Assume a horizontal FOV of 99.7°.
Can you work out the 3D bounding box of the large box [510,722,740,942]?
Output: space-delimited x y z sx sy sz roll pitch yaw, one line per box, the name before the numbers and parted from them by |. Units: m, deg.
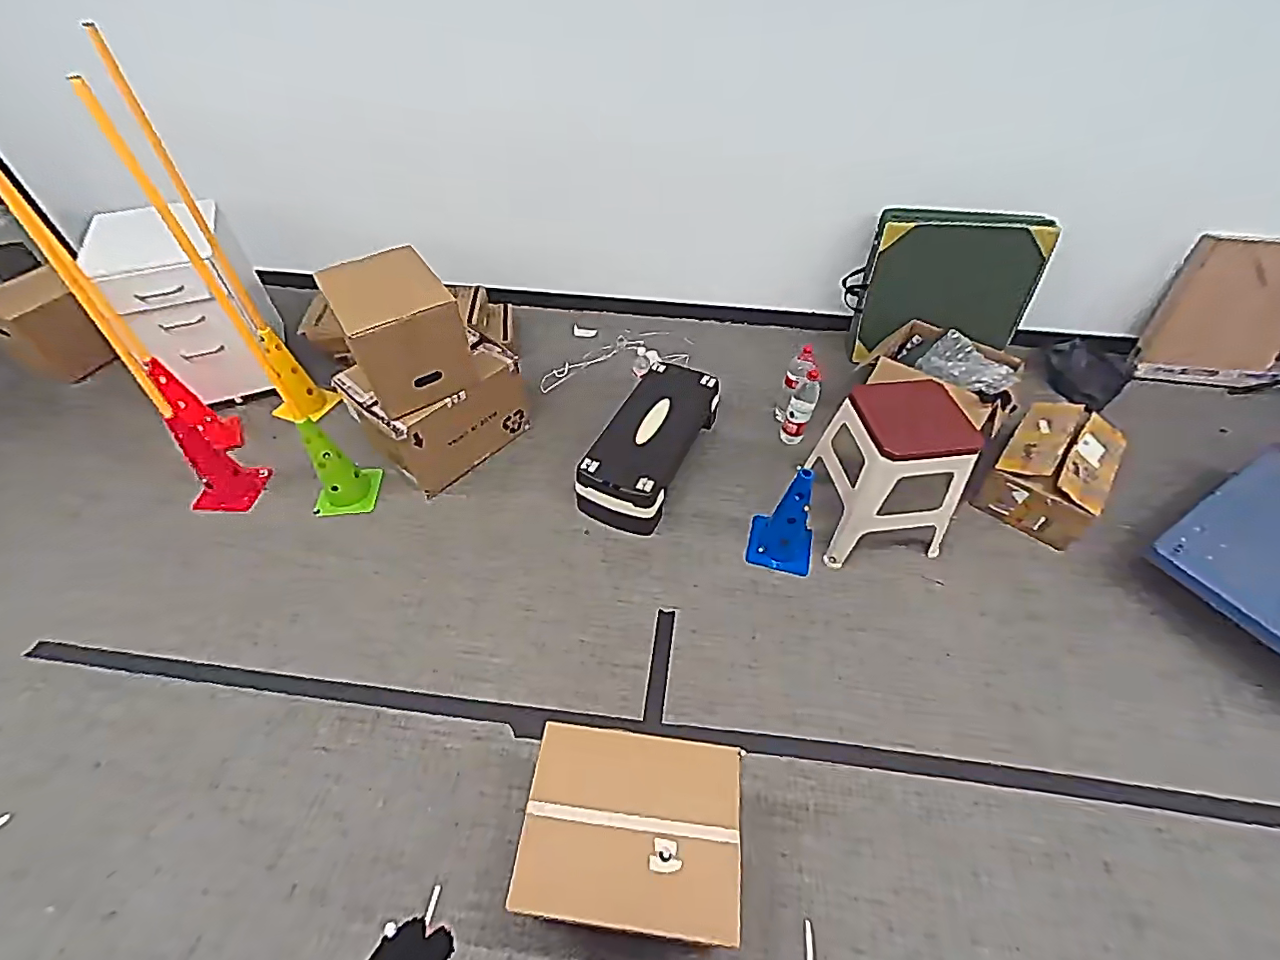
large box | -0.019 0.736 1.128 0.408 0.320 0.320 7 50 3
